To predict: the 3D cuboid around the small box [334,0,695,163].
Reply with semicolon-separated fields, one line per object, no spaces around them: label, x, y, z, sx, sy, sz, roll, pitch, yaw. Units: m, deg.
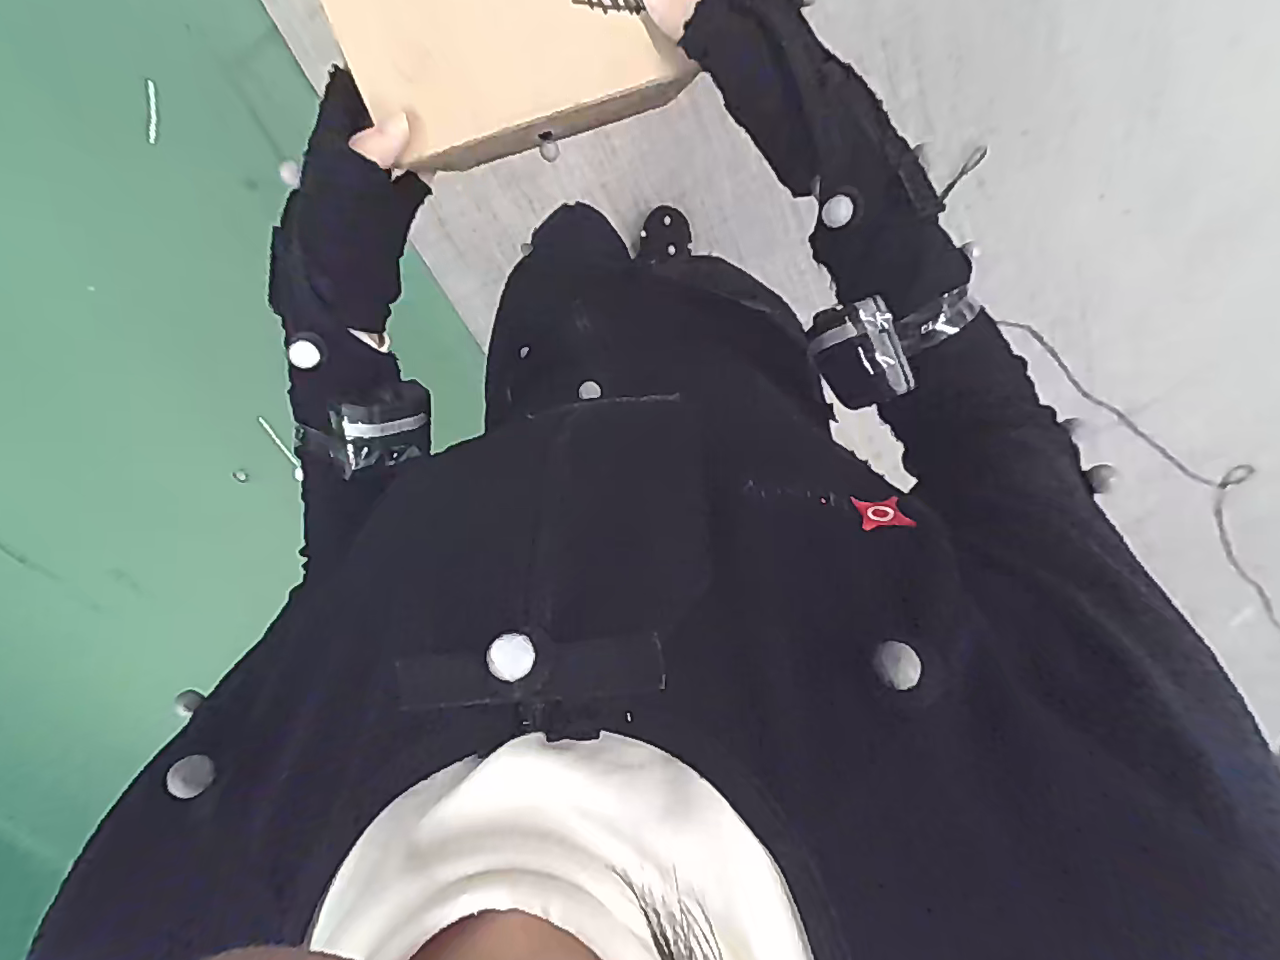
small box;-0.079;-0.310;0.329;0.179;0.176;0.168;-15;118;4
